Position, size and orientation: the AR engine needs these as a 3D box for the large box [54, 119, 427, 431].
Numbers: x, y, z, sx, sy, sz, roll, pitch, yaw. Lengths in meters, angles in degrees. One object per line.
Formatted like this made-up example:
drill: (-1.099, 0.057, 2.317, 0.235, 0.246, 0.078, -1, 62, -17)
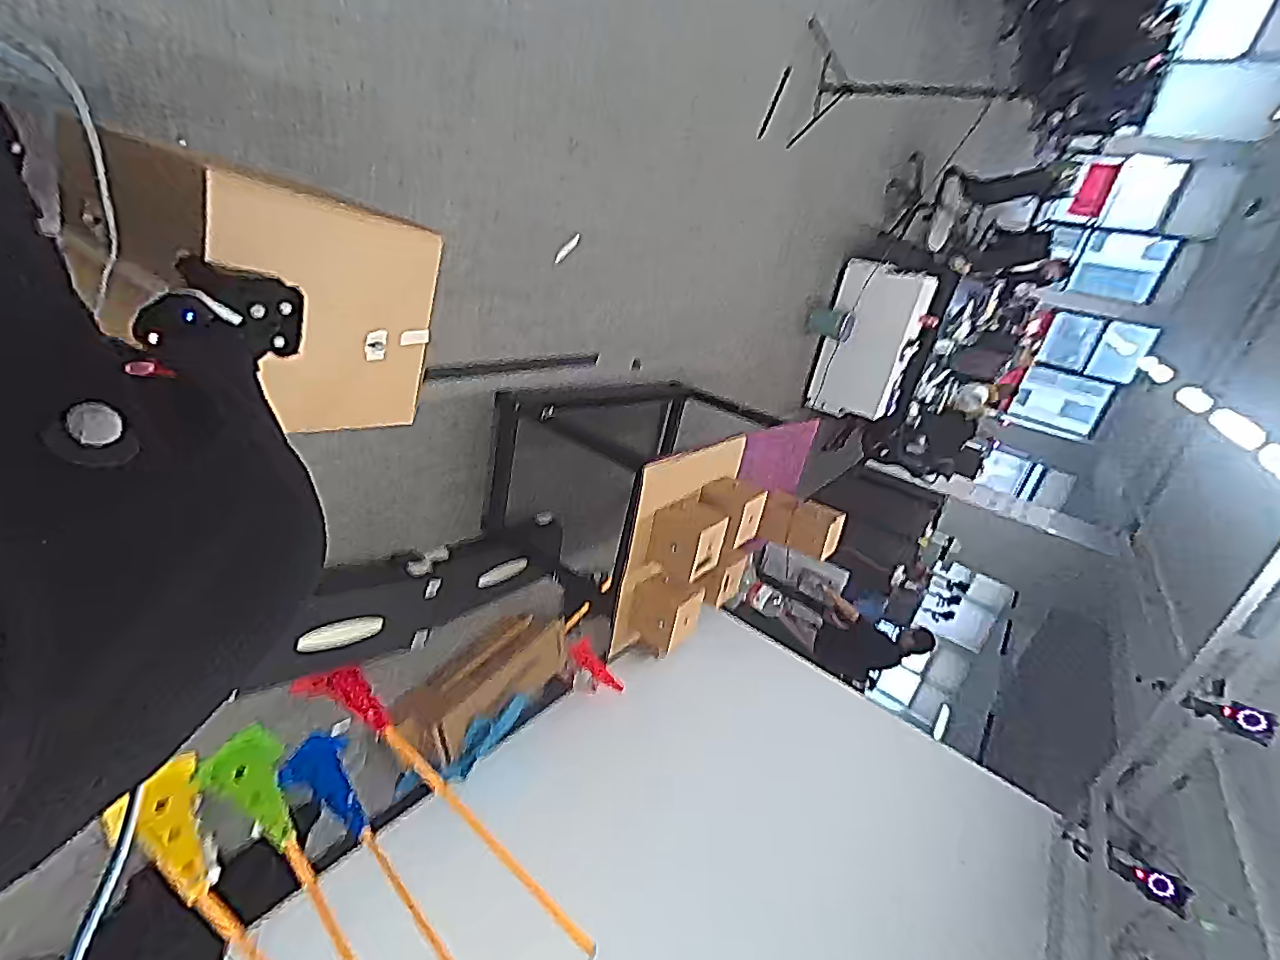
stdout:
large box: (-0.592, -0.299, 0.826, 0.320, 0.408, 0.320, -17, 130, -58)
